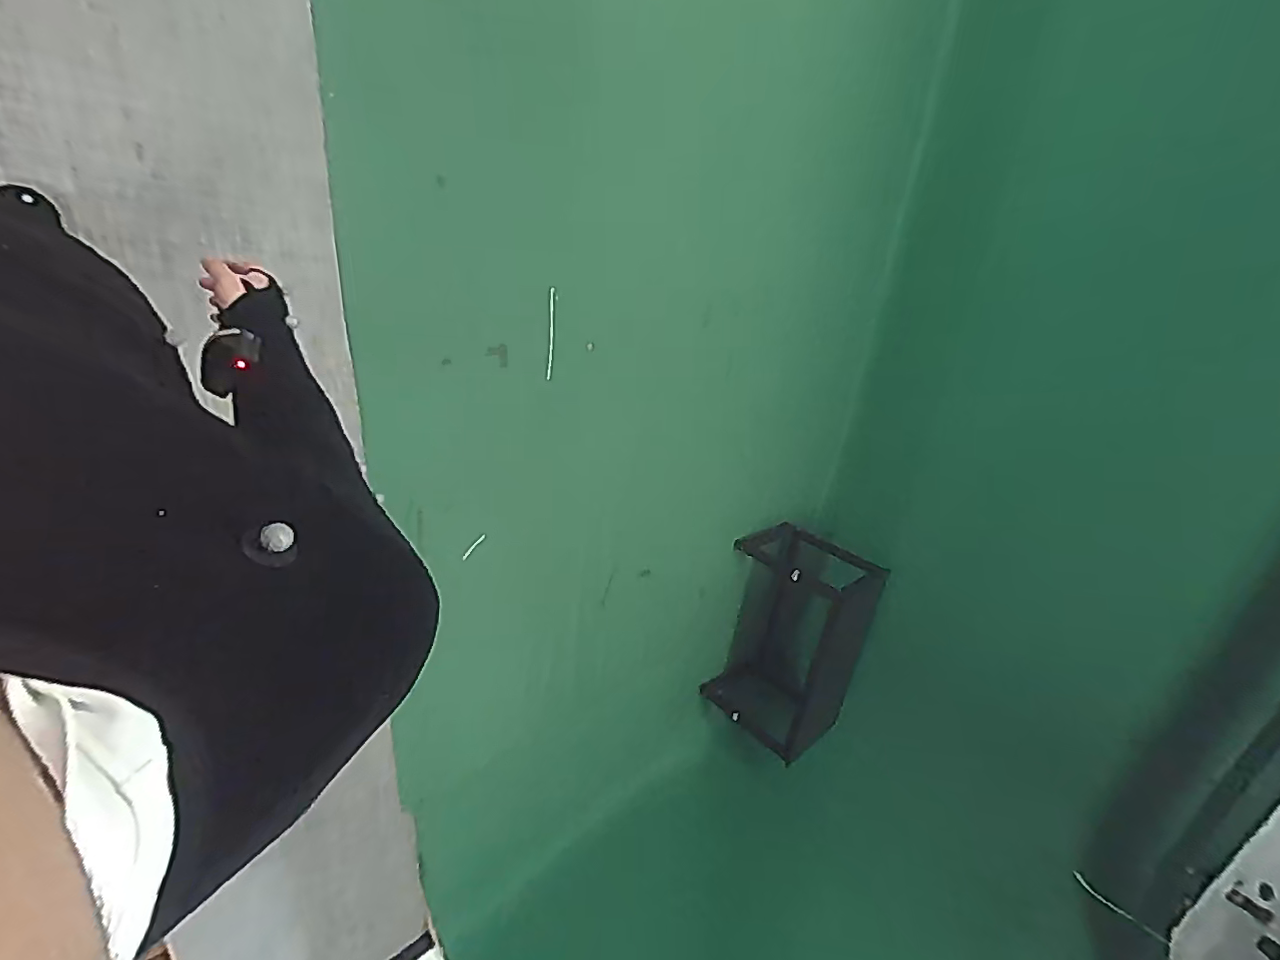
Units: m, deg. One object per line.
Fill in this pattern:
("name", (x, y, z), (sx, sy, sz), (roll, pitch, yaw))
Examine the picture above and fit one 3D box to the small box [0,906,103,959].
("small box", (-1.204, 1.020, 1.075), (0.179, 0.176, 0.168), (-13, 121, -42))
